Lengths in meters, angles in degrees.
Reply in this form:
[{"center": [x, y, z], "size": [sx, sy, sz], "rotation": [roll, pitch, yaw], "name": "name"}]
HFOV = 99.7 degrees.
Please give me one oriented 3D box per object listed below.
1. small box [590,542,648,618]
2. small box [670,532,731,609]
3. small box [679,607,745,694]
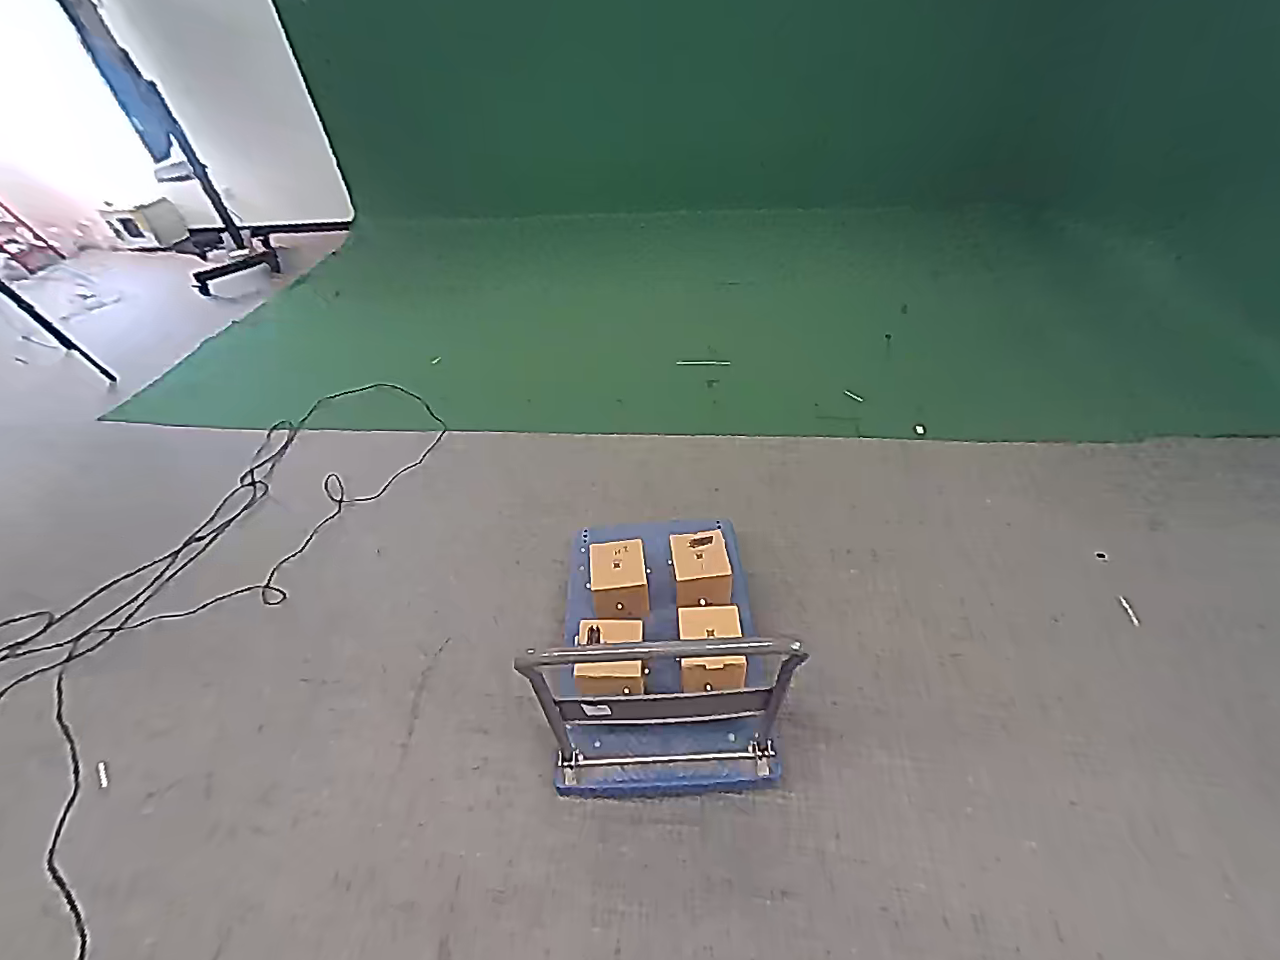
[{"center": [-0.065, 0.320, 1.700], "size": [0.168, 0.176, 0.179], "rotation": [-6, 43, -2], "name": "small box"}, {"center": [0.185, 0.290, 1.706], "size": [0.168, 0.176, 0.179], "rotation": [-7, 44, 0], "name": "small box"}, {"center": [0.194, 0.478, 1.511], "size": [0.168, 0.176, 0.179], "rotation": [-3, 44, 2], "name": "small box"}]
